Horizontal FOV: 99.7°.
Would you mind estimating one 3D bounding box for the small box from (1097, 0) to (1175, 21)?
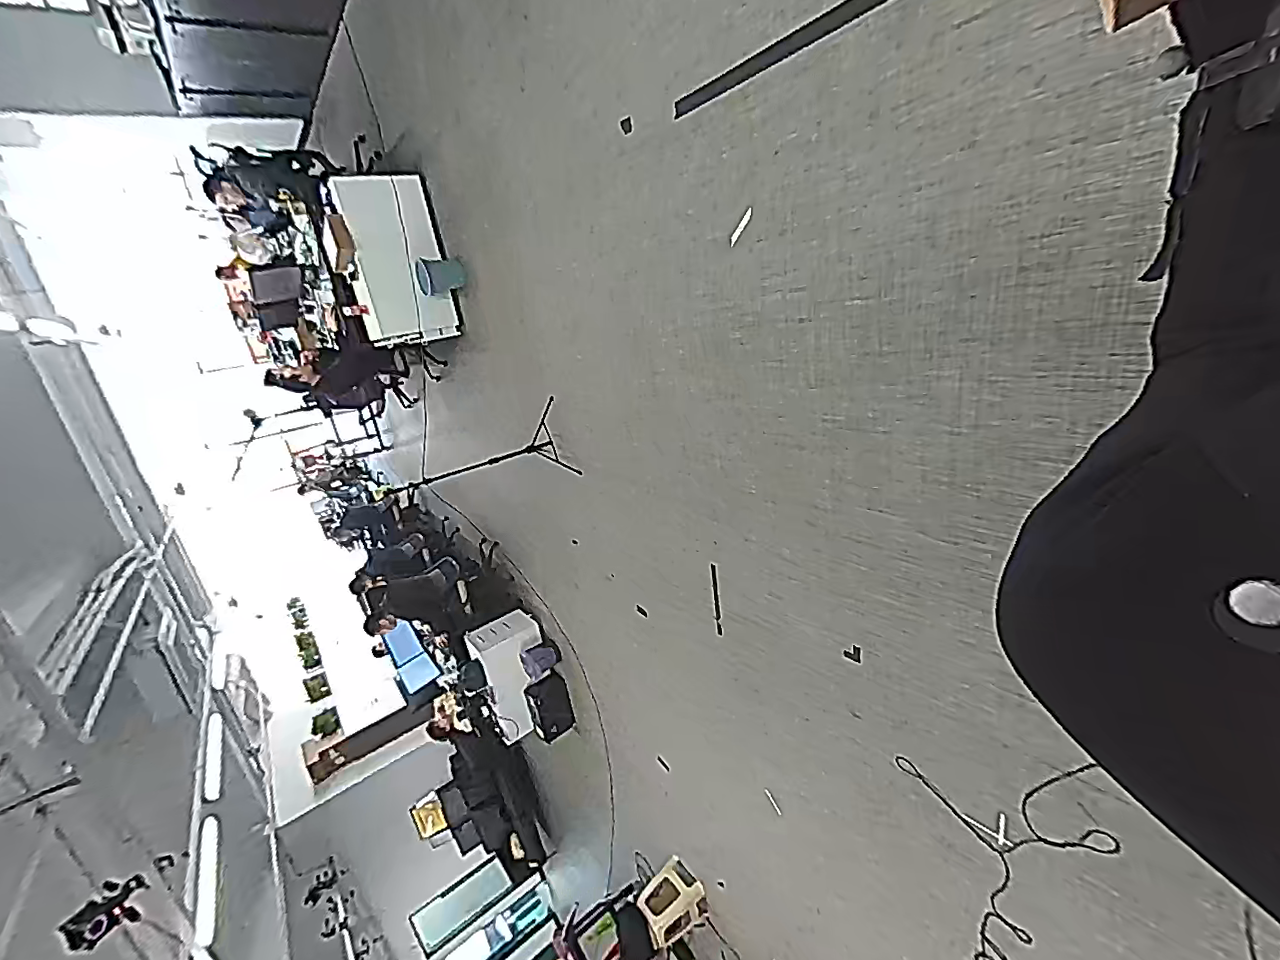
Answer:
[{"bbox_3d":[0.237,-0.312,0.181,0.168,0.176,0.179,-14,103,45],"label":"small box"}]
